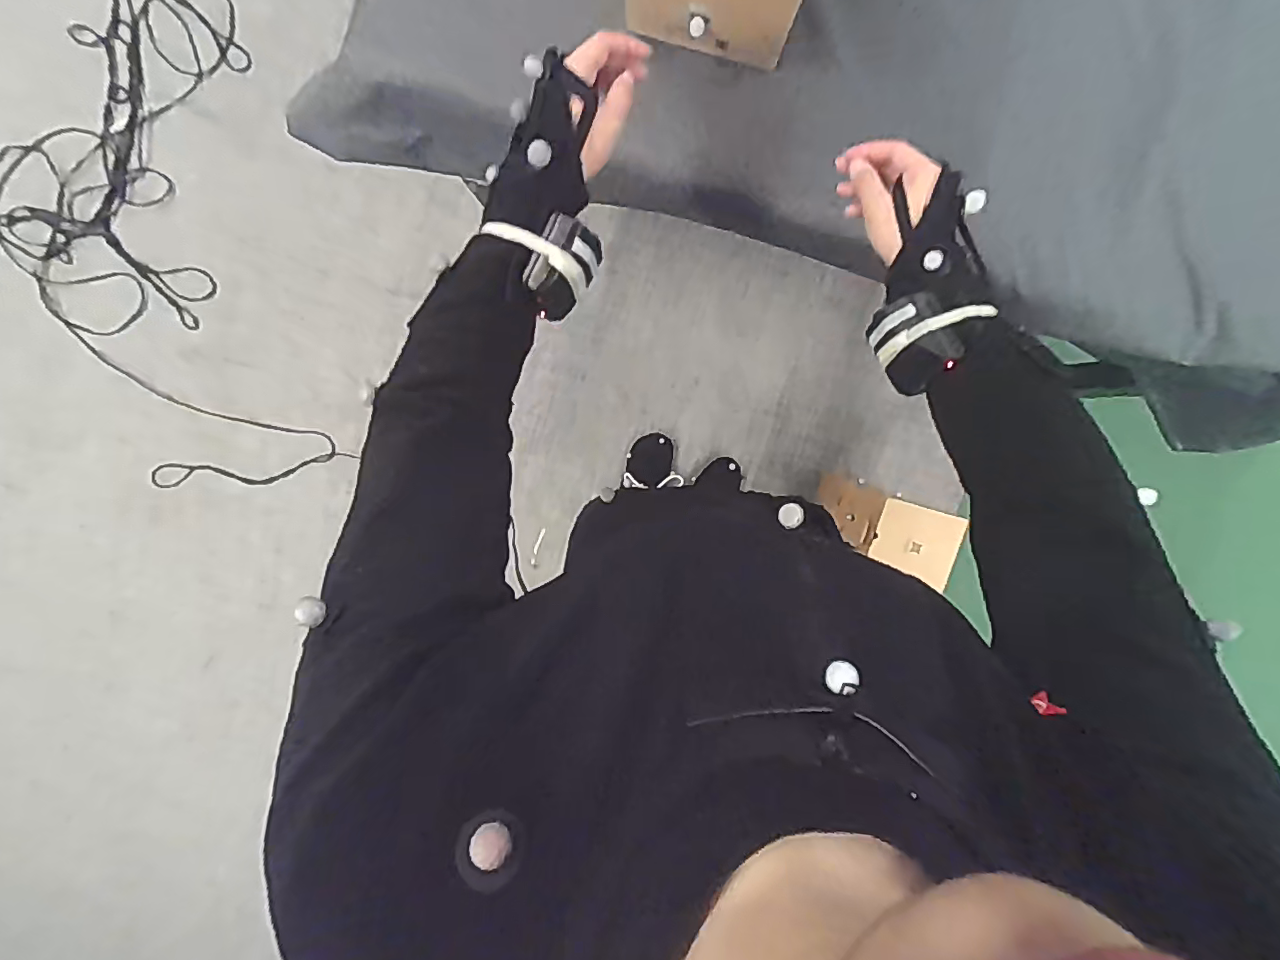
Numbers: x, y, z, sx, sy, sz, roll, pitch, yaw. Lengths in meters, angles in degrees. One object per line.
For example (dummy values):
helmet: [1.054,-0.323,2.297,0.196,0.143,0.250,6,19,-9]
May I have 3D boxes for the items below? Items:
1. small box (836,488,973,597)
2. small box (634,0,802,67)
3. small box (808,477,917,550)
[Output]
small box: [0.544,0.122,1.137,0.179,0.176,0.168,15,97,-2]
small box: [0.089,-0.536,0.492,0.168,0.176,0.179,14,97,-1]
small box: [0.527,0.095,1.300,0.179,0.176,0.168,17,96,-2]
